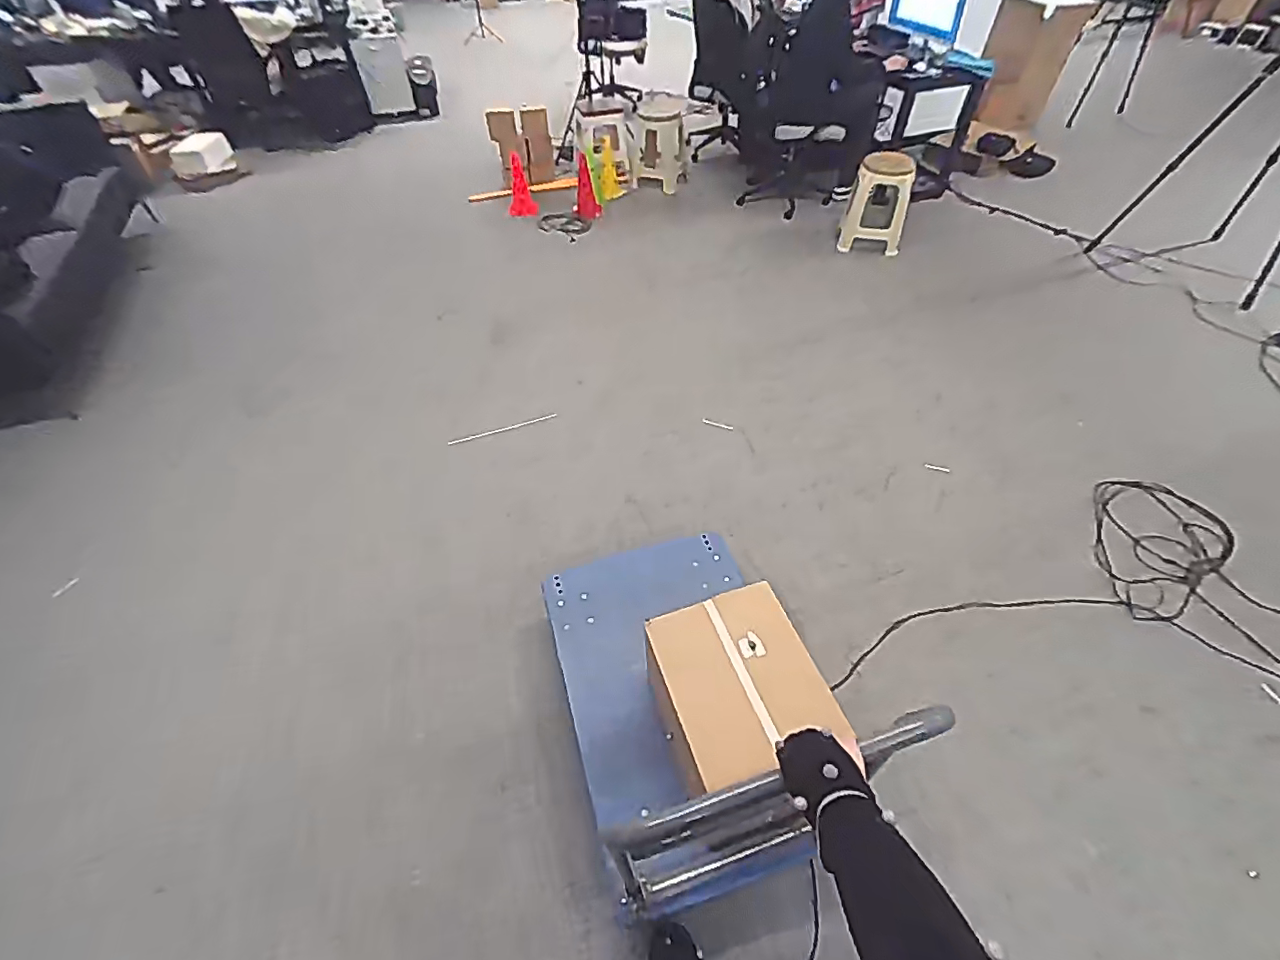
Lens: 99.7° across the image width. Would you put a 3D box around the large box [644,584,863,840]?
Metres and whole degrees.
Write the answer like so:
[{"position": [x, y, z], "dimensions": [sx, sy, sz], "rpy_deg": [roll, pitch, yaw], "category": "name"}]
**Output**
[{"position": [0.226, 0.523, 1.239], "dimensions": [0.320, 0.320, 0.408], "rpy_deg": [-16, 50, -12], "category": "large box"}]
